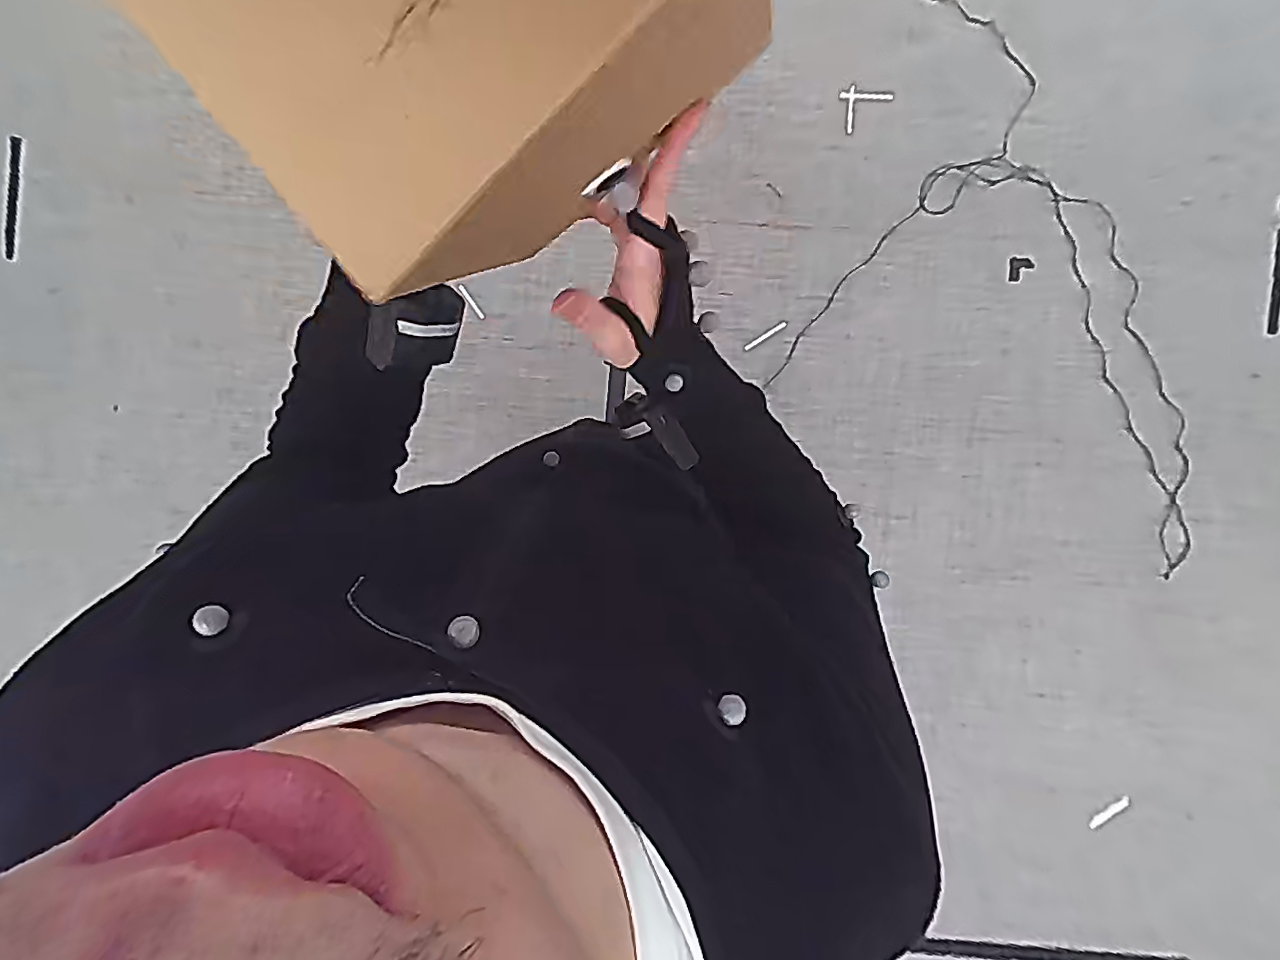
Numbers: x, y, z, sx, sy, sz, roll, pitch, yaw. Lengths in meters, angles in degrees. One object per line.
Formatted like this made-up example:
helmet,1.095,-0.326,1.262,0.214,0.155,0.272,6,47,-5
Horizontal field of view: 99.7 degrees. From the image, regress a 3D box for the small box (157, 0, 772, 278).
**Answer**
small box,-0.062,-0.212,0.217,0.168,0.176,0.179,-33,107,27
